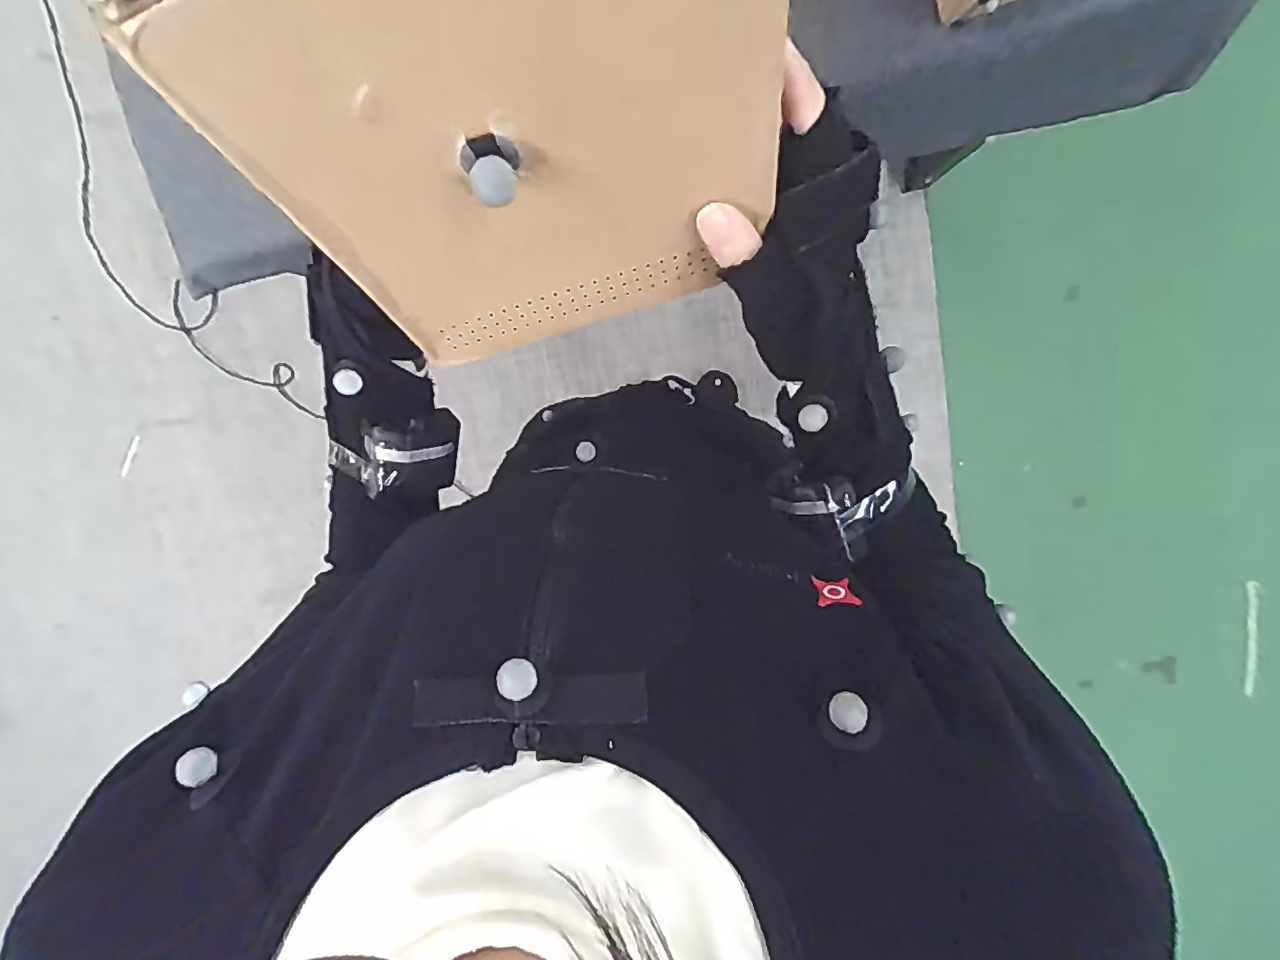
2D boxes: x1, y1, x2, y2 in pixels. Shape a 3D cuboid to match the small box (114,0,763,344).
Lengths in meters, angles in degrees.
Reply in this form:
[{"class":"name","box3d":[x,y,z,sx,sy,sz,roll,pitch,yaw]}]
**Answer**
[{"class":"small box","box3d":[-0.052,-0.185,0.230,0.179,0.176,0.168,-16,69,5]}]
